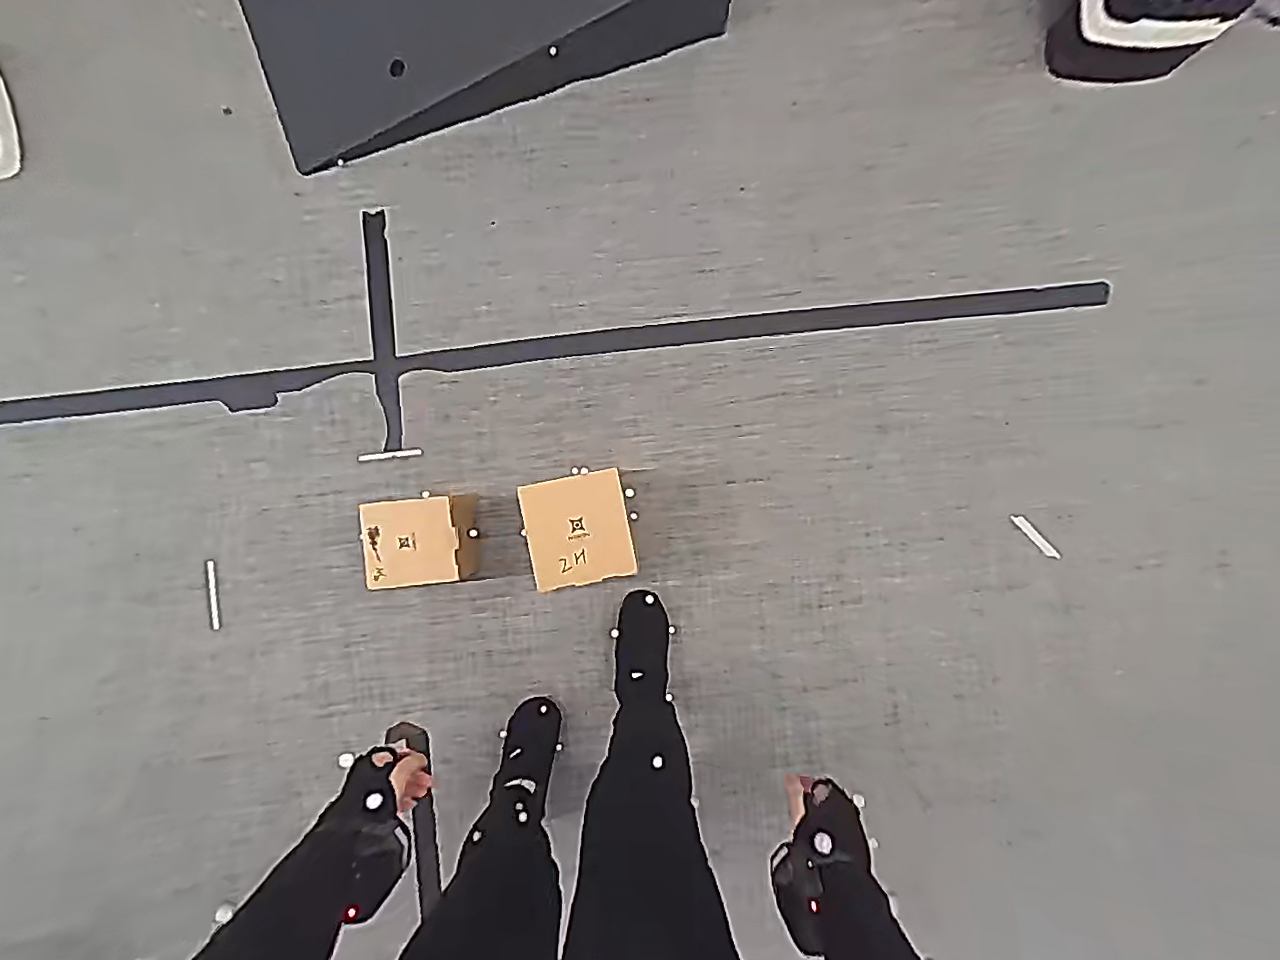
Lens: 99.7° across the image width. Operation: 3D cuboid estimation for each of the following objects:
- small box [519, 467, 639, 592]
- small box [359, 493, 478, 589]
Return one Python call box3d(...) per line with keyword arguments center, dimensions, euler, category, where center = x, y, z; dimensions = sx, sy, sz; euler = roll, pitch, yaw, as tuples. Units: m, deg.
box3d(center=(-0.098, 0.079, 0.927), dimensions=(0.168, 0.176, 0.179), euler=(-11, 90, 0), category="small box")
box3d(center=(-0.434, 0.115, 1.089), dimensions=(0.179, 0.176, 0.168), euler=(-5, 90, -1), category="small box")
